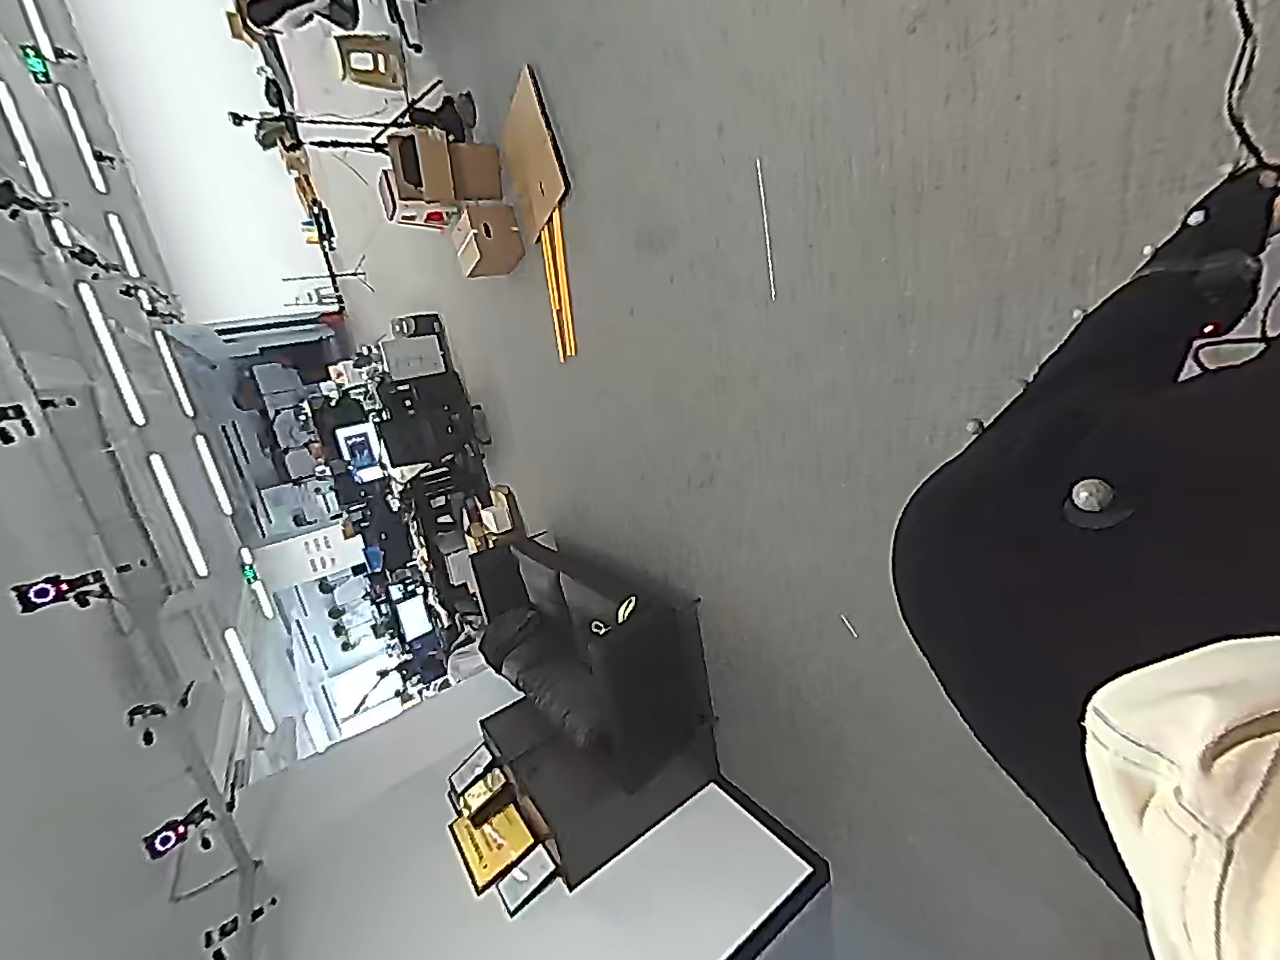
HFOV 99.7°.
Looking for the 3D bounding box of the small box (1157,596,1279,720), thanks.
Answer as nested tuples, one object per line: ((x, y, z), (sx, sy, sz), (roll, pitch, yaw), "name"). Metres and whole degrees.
((1.292, 0.378, 1.189), (0.179, 0.176, 0.168), (18, 121, 55), "small box")
